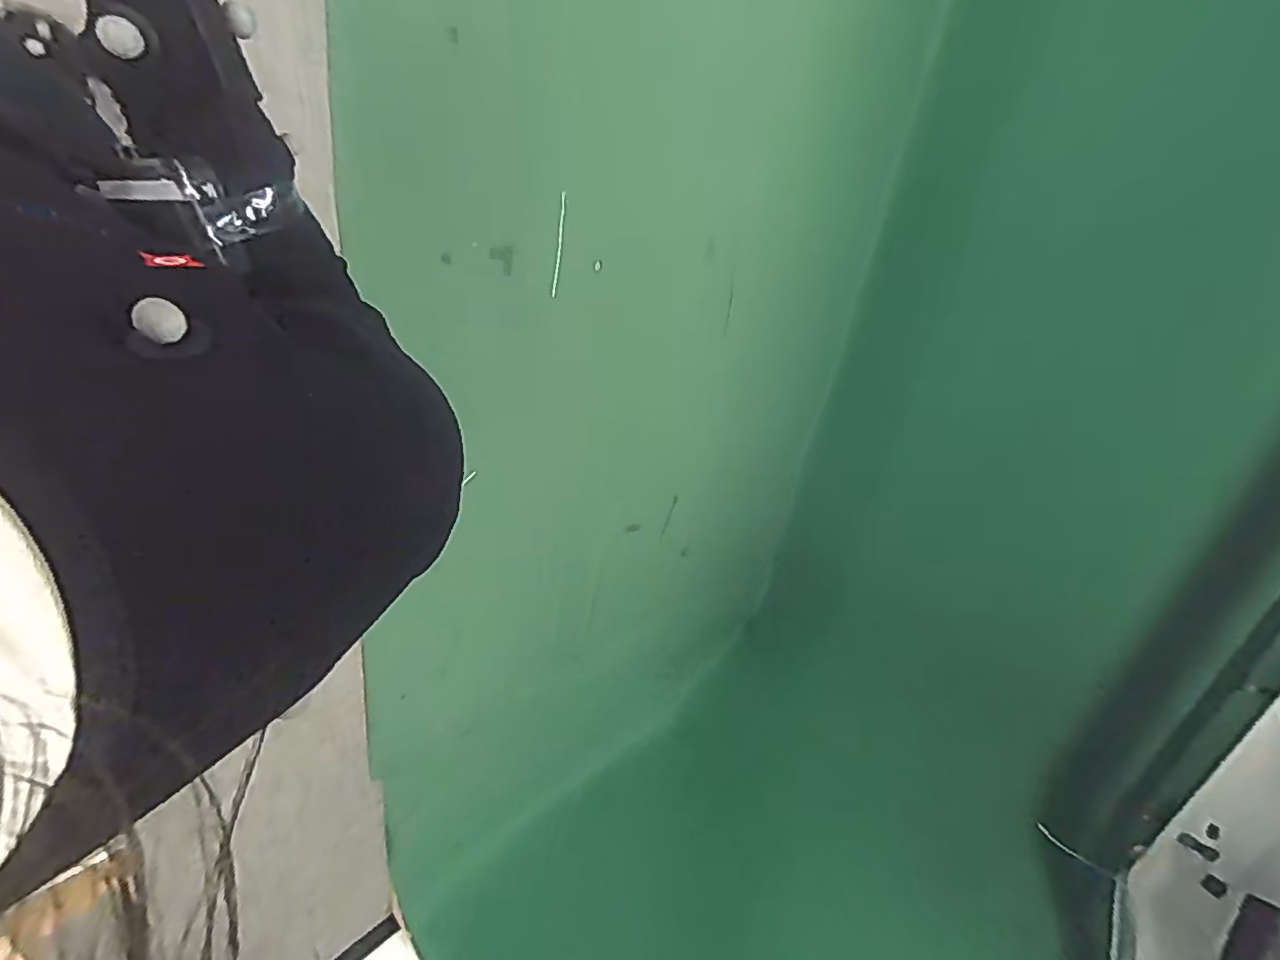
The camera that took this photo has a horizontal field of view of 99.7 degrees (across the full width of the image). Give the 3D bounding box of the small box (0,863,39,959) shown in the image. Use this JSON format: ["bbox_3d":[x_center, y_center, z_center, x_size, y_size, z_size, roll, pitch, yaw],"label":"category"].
[{"bbox_3d":[-1.177,0.806,0.920,0.168,0.176,0.179,-21,127,-44],"label":"small box"}]
